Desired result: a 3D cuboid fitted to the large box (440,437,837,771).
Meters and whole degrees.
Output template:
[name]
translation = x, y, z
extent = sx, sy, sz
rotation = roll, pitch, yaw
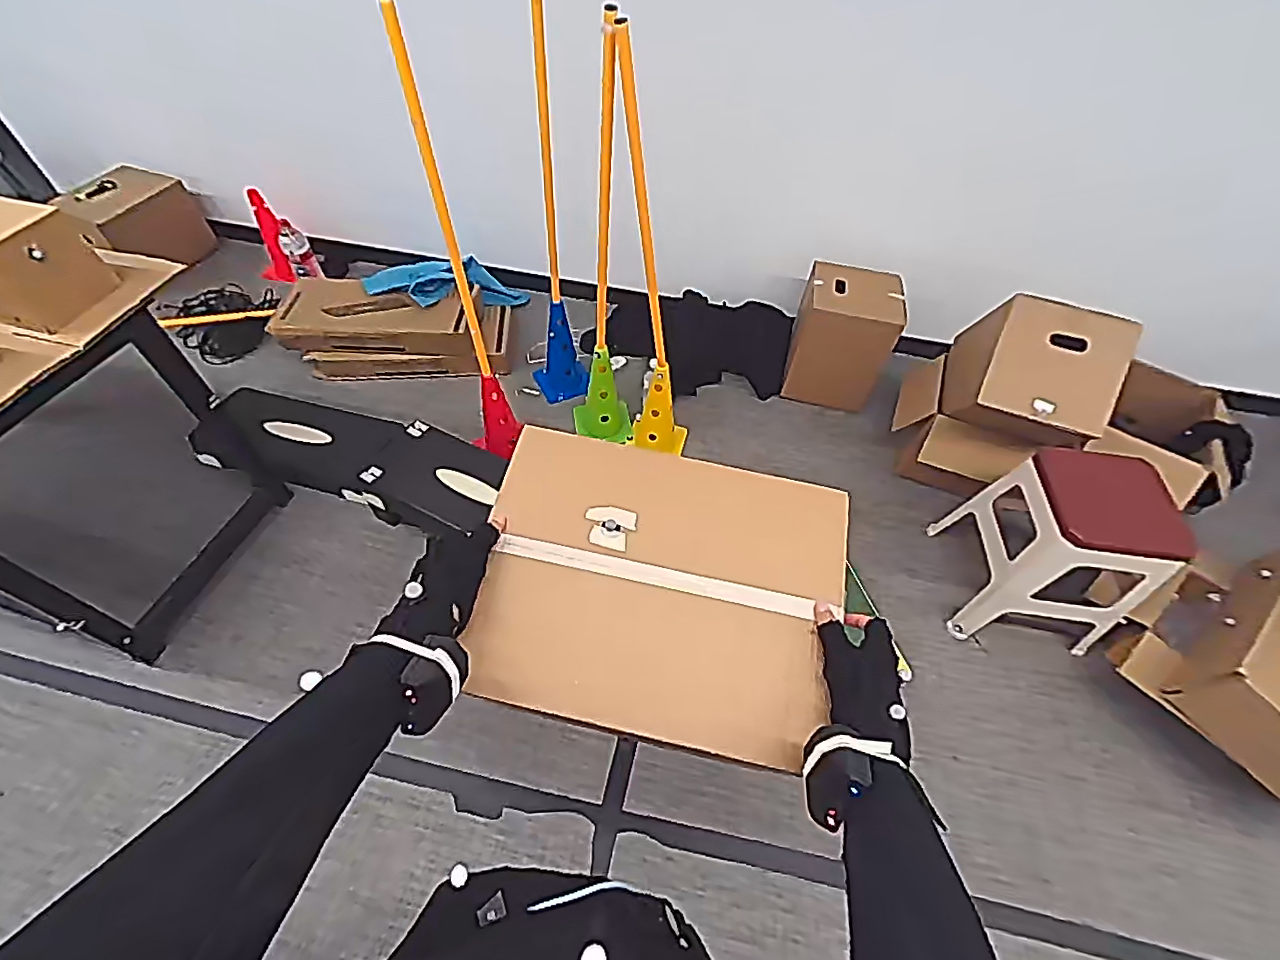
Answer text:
[large box]
translation = 0.015, 0.180, 0.740
extent = 0.408, 0.320, 0.320
rotation = 12, 63, 4
